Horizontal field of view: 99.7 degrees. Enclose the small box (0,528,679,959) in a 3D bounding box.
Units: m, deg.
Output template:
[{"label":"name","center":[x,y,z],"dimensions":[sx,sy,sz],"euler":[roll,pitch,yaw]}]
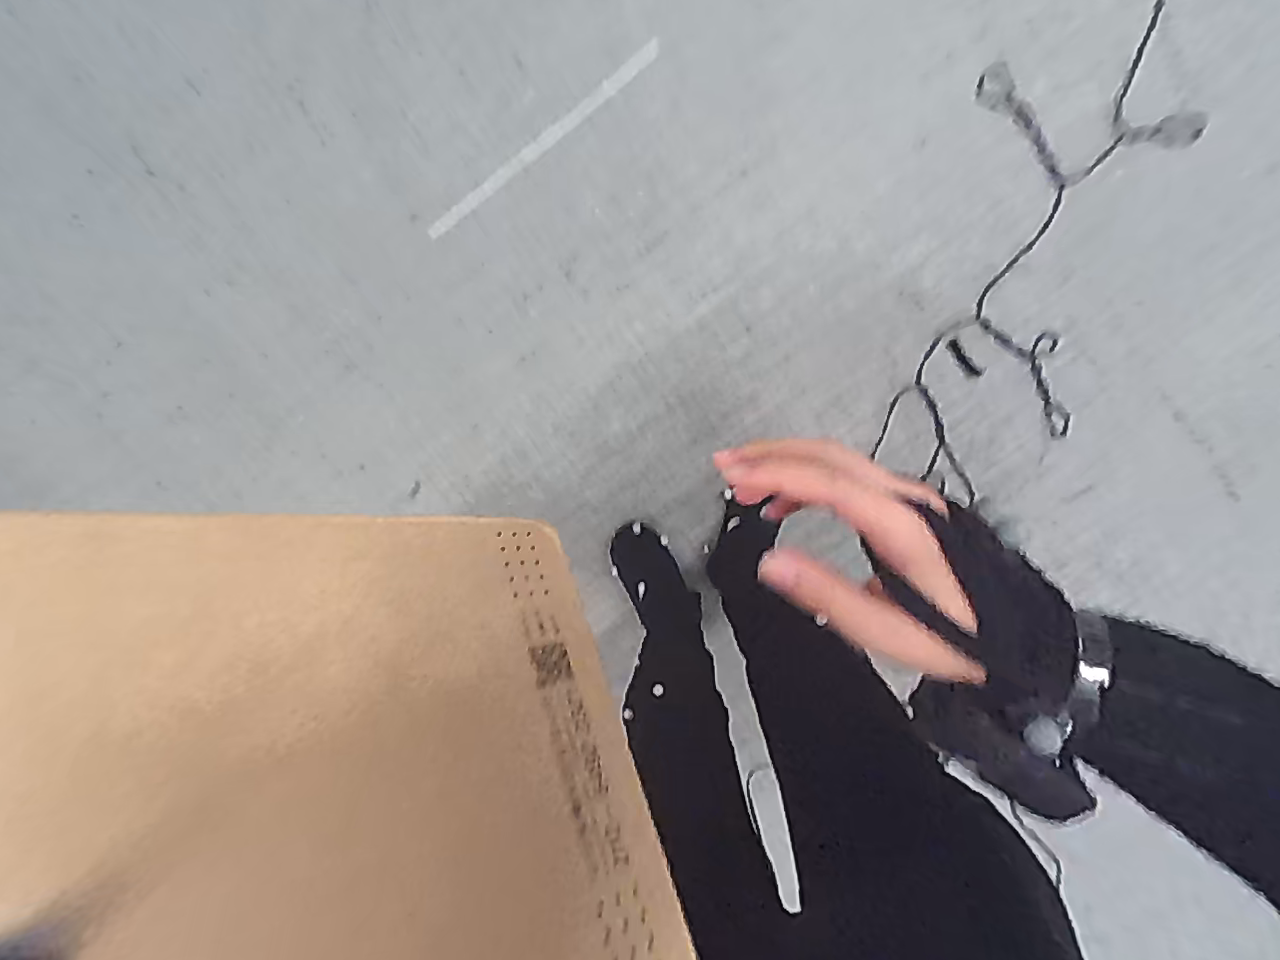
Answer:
[{"label":"small box","center":[-0.118,0.131,0.187],"dimensions":[0.179,0.176,0.168],"euler":[-47,54,37]}]
